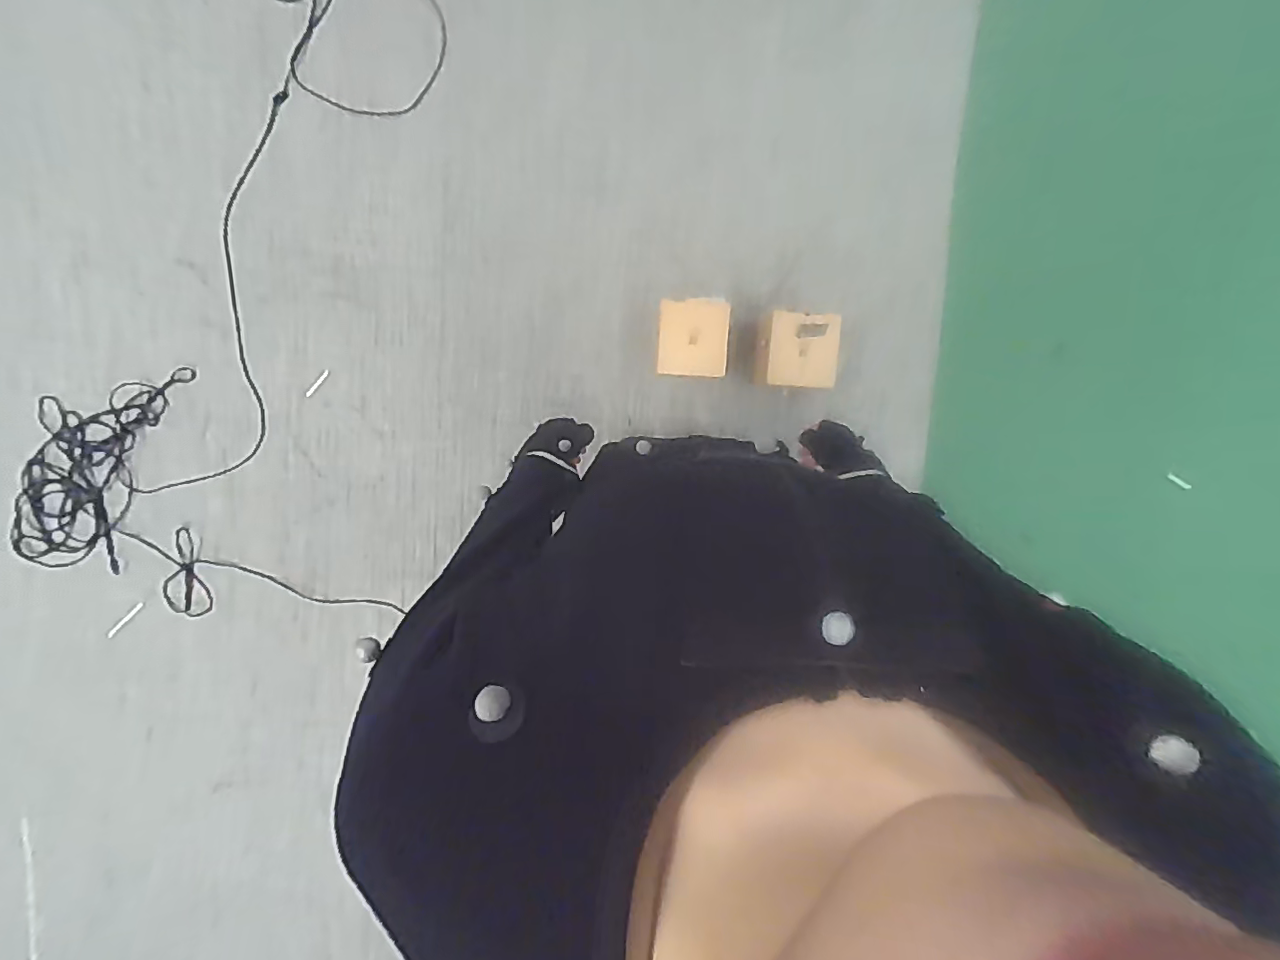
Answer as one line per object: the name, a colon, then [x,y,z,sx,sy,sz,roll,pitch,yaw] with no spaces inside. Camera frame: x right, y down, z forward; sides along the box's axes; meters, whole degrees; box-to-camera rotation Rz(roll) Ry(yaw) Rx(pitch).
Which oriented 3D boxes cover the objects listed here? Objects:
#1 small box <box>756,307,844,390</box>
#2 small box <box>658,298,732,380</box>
small box: [0.394,-0.324,1.362,0.168,0.176,0.179,4,96,0]
small box: [0.132,-0.348,1.362,0.168,0.176,0.179,3,95,0]
